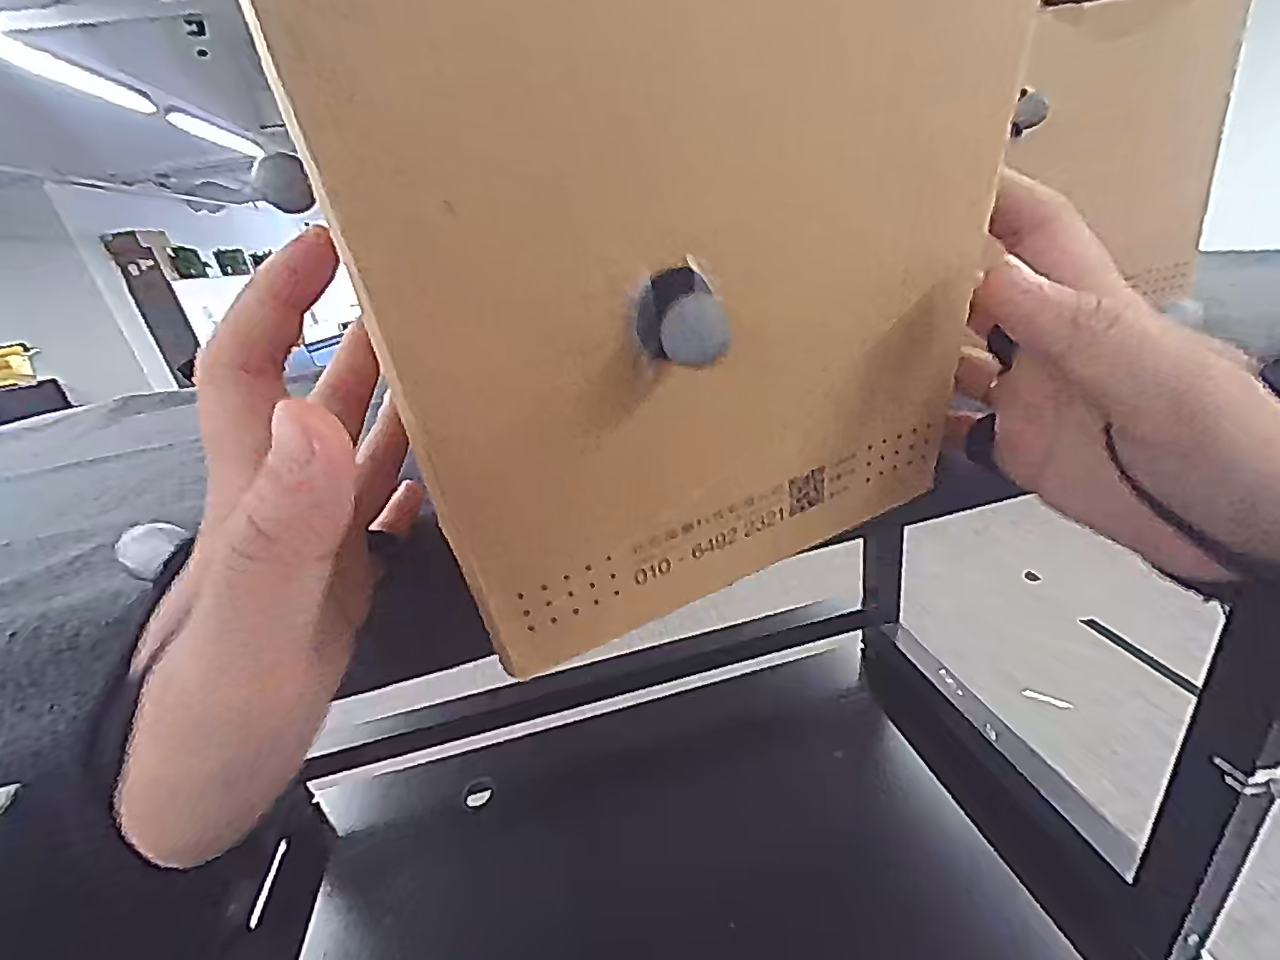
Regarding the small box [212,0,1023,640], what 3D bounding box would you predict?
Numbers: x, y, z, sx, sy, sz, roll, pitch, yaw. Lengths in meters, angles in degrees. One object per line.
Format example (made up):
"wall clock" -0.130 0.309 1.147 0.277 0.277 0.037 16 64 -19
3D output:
"small box" -0.008 -0.069 0.197 0.168 0.176 0.179 -21 36 -18
